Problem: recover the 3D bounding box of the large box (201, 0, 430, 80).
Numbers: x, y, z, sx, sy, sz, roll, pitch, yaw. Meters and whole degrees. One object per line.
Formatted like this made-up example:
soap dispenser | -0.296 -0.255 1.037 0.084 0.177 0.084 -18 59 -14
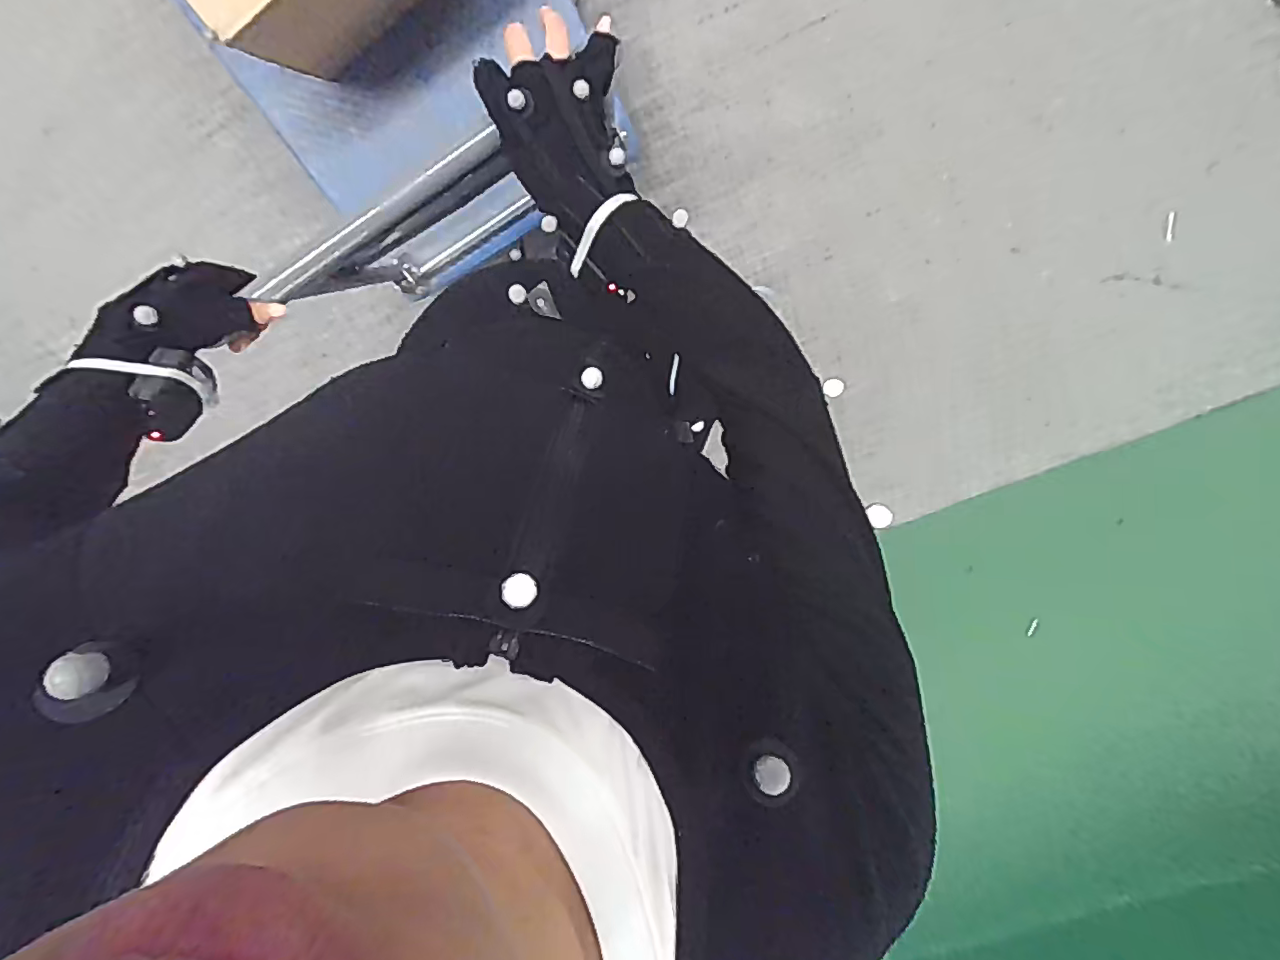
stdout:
large box | -0.444 -0.844 0.729 0.408 0.320 0.320 -29 116 13
